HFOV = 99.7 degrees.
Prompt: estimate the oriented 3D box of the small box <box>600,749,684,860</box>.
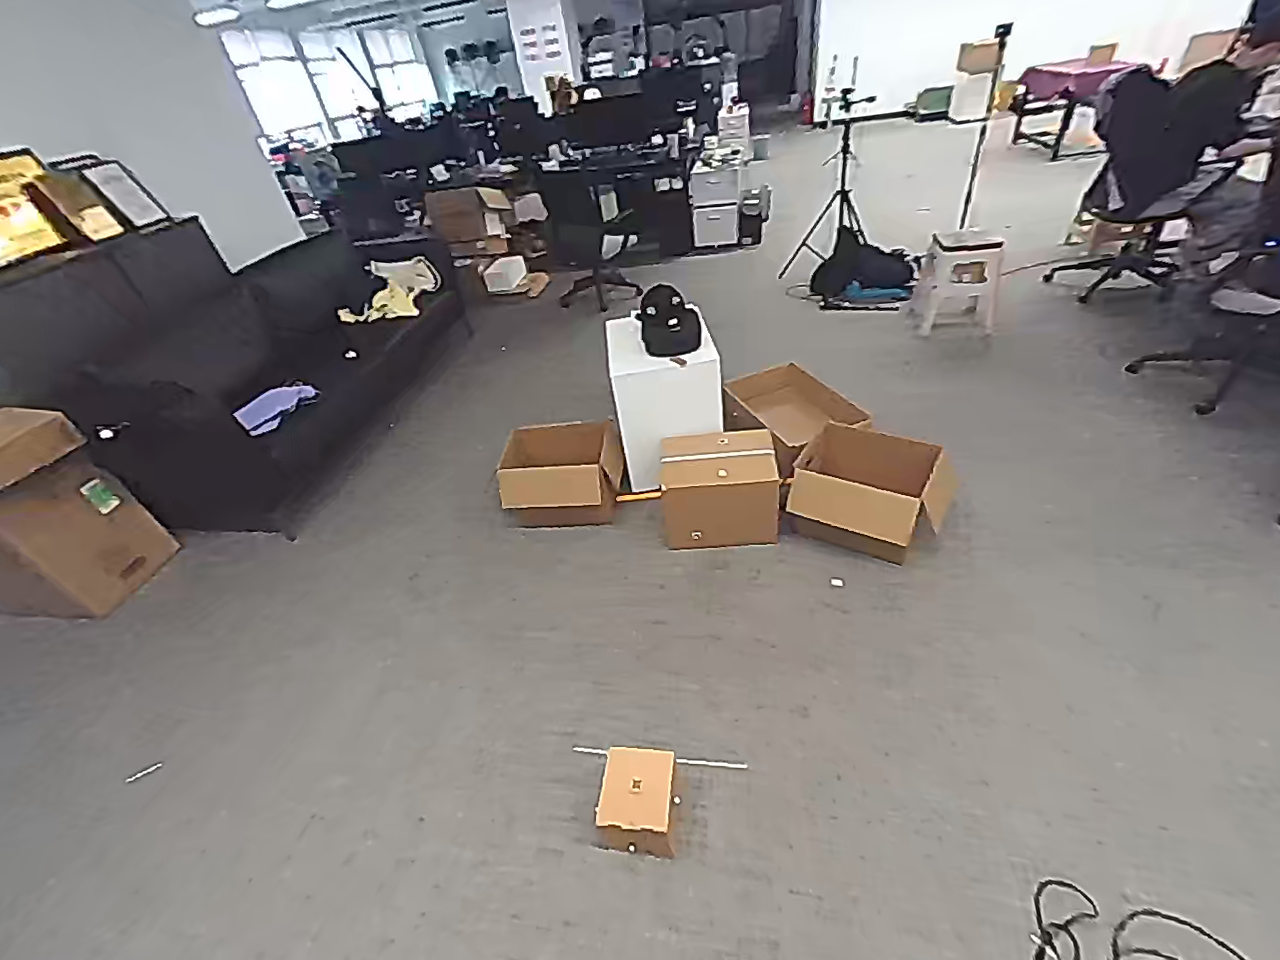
[{"bbox_3d":[0.013,0.781,1.304,0.168,0.176,0.179,-2,40,12],"label":"small box"}]
